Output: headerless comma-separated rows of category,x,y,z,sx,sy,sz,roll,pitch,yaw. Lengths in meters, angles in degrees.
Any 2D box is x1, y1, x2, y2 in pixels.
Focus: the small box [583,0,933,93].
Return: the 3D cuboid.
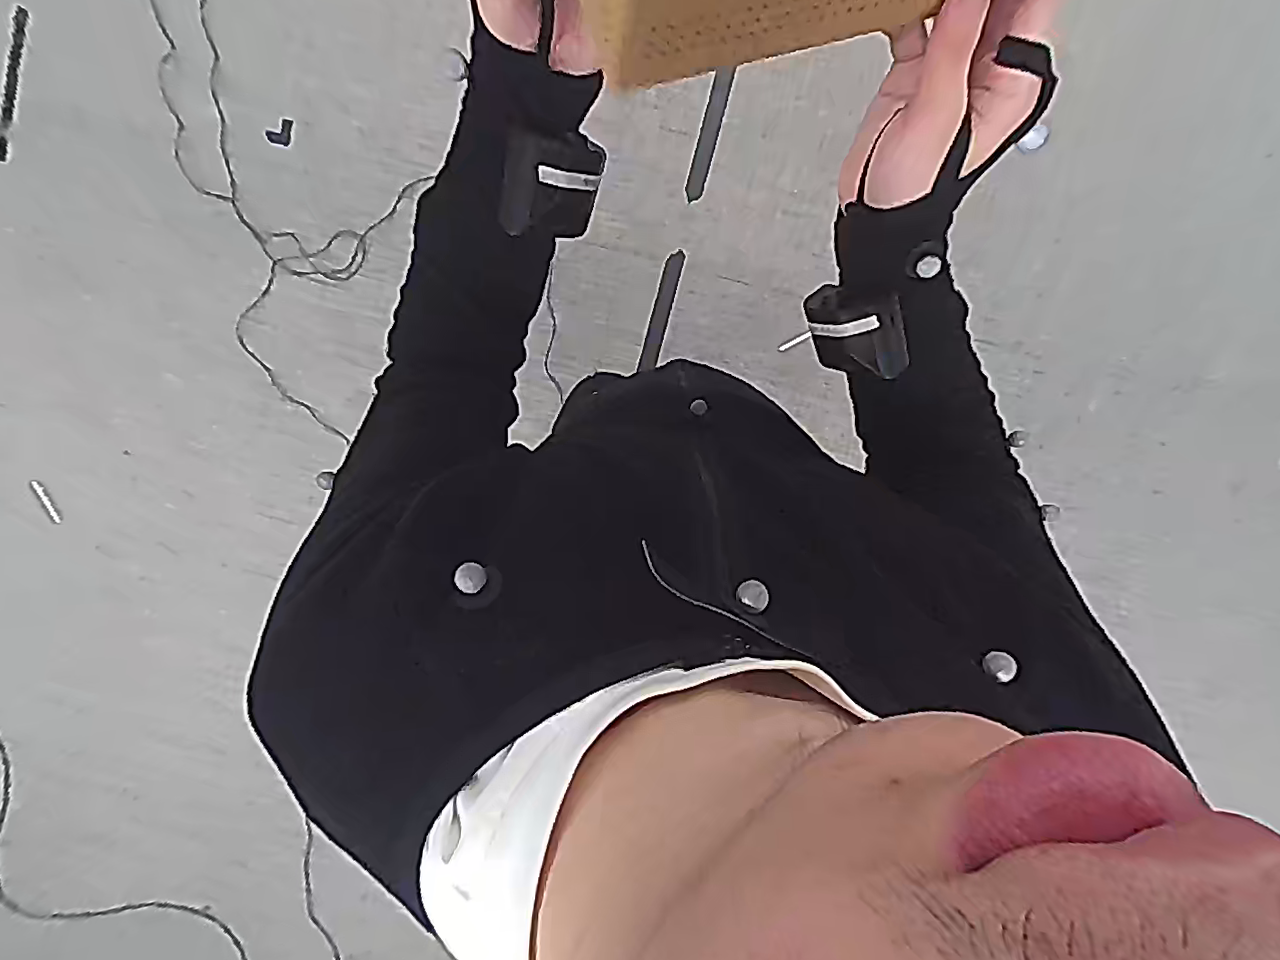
small box,0.055,-0.270,0.165,0.179,0.176,0.168,-22,92,-7
